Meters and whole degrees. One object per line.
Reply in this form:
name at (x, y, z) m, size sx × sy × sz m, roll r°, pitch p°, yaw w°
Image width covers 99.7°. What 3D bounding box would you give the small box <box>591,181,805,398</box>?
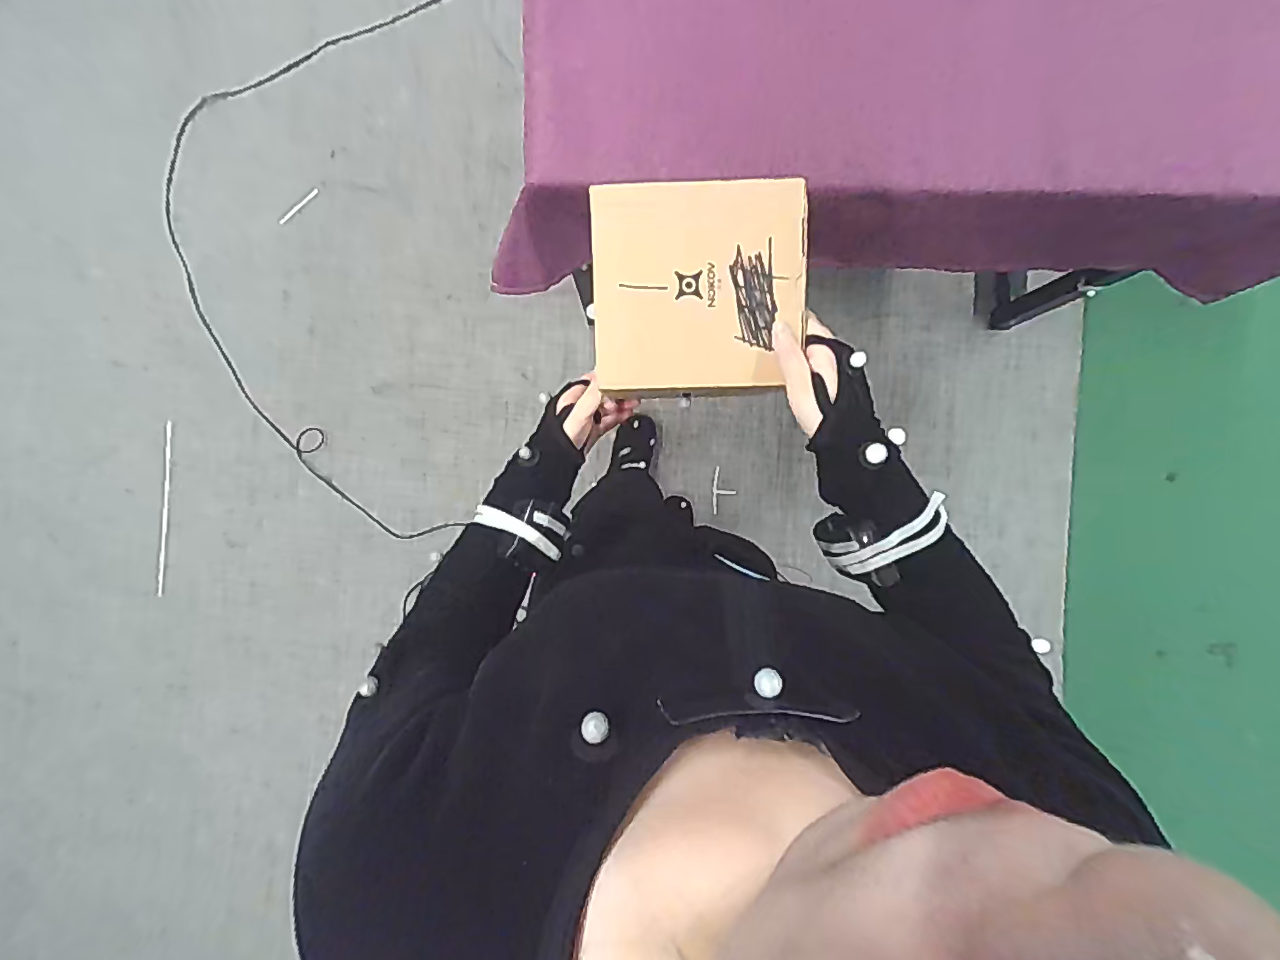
small box at (0.048, -0.168, 0.525) m, size 0.179 × 0.176 × 0.168 m, roll -1°, pitch 96°, yaw 2°
